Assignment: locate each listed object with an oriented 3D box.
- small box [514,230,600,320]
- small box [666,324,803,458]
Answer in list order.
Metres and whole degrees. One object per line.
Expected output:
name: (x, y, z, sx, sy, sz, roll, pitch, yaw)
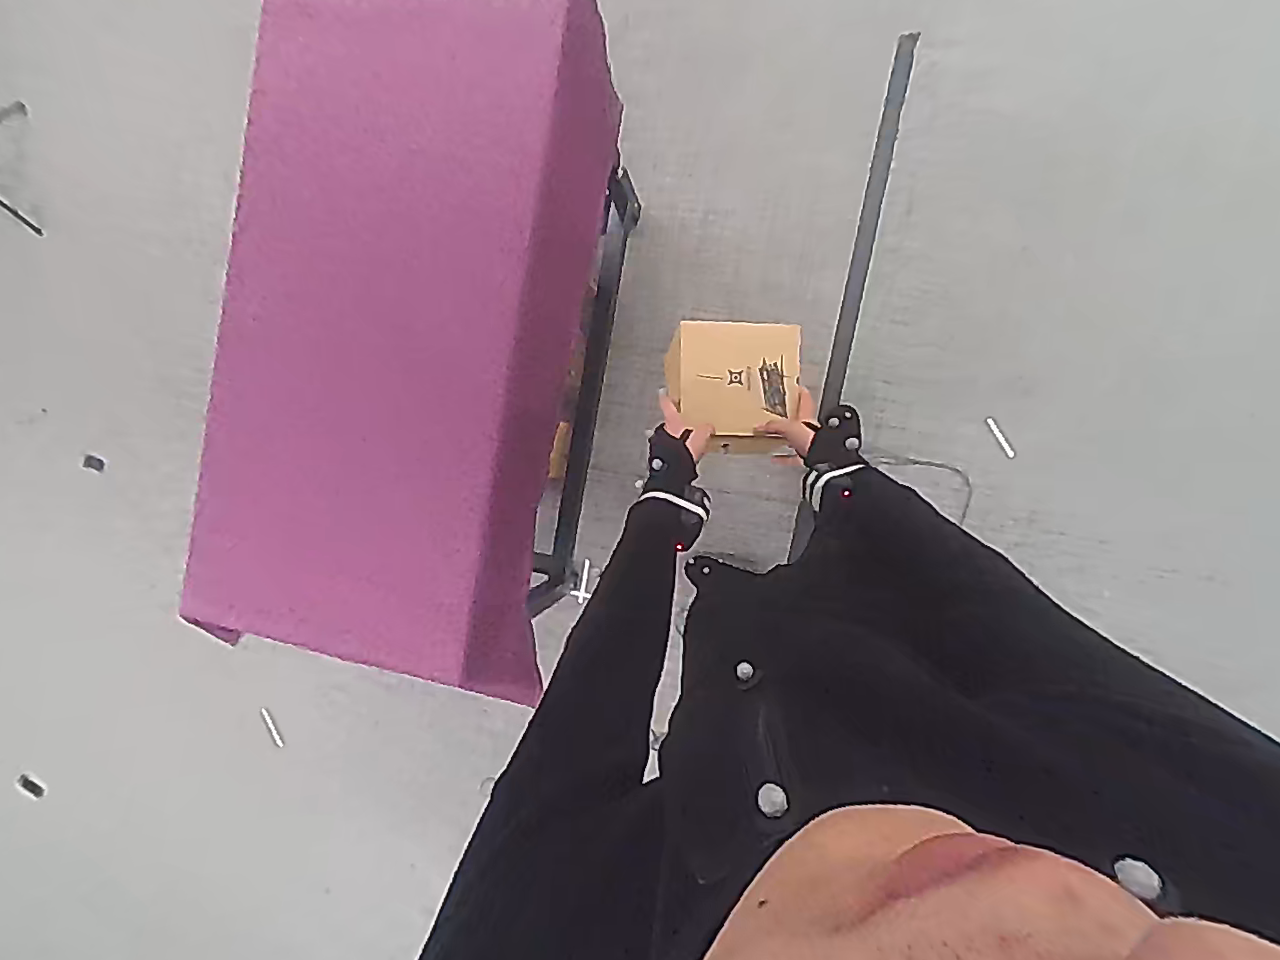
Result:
small box: (-0.239, -0.595, 1.594, 0.179, 0.176, 0.168, -19, 87, 12)
small box: (0.140, -0.129, 0.843, 0.179, 0.176, 0.168, 1, 84, -4)
